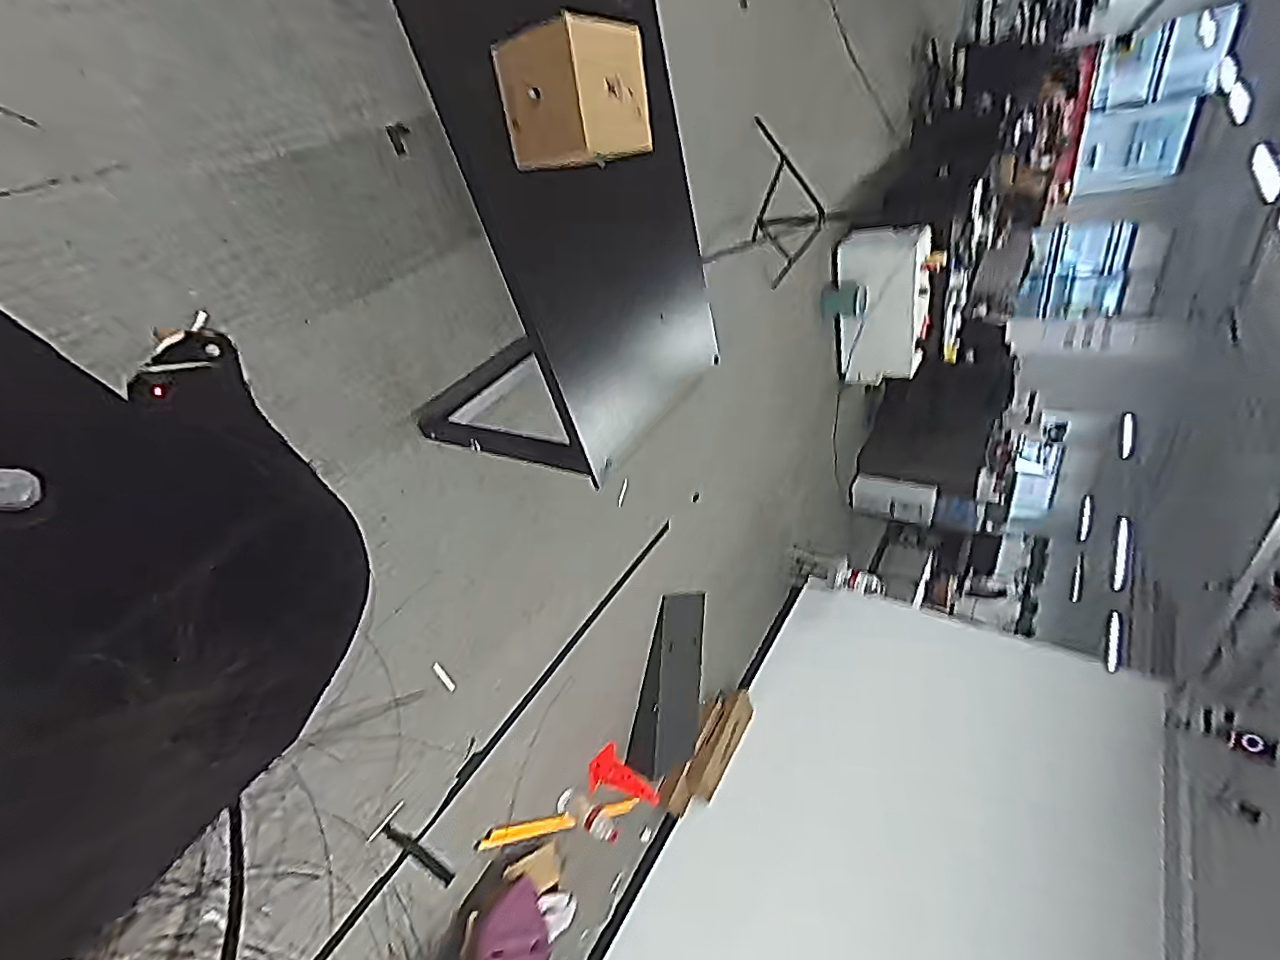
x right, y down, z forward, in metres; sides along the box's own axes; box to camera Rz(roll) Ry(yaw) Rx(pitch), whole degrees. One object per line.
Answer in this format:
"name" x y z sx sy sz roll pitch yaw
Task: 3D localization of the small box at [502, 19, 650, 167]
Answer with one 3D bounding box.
"small box" -0.108 -0.627 0.898 0.179 0.176 0.168 -38 129 -43
